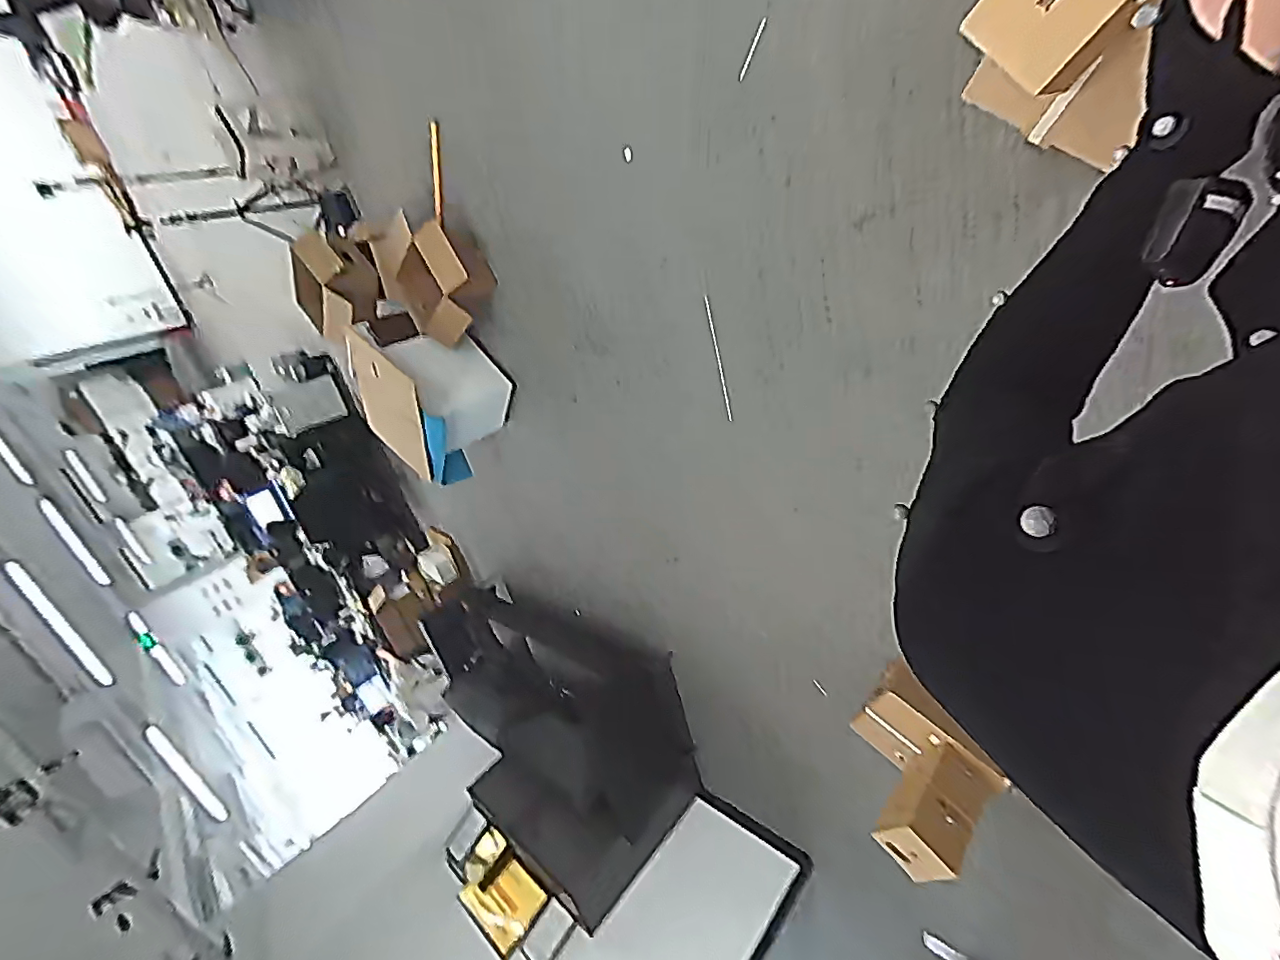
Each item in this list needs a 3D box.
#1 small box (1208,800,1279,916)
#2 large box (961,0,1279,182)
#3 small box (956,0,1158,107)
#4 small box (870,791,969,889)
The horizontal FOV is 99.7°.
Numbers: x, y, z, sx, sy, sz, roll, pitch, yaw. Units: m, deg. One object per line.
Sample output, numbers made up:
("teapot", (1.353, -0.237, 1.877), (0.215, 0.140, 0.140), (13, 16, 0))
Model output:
("small box", (1.581, 0.957, 1.373), (0.179, 0.176, 0.168), (4, 118, 47))
("large box", (0.849, -0.784, 0.908), (0.320, 0.320, 0.408), (42, 140, 17))
("small box", (0.629, -0.698, 0.810), (0.168, 0.176, 0.179), (52, 143, 10))
("small box", (0.823, 1.053, 1.586), (0.168, 0.176, 0.179), (45, 140, 17))
